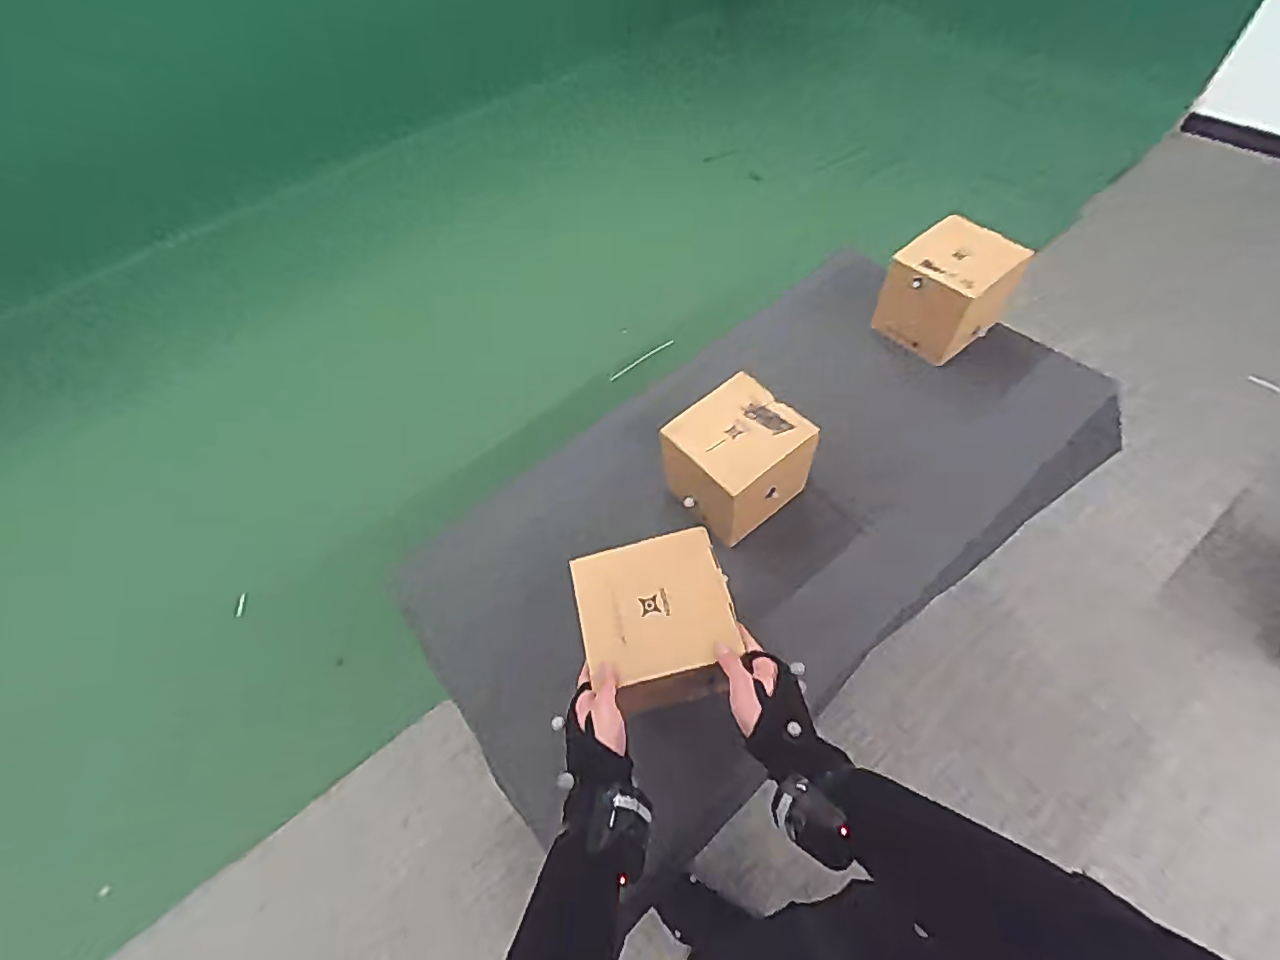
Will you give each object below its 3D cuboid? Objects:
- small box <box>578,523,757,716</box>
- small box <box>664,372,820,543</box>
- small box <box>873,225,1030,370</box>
[{"bbox_3d":[0.032,0.180,0.680,0.179,0.176,0.168,-14,55,-1],"label":"small box"},{"bbox_3d":[0.155,-0.033,0.870,0.179,0.176,0.168,-35,60,-16],"label":"small box"},{"bbox_3d":[0.584,-0.348,1.040,0.179,0.176,0.168,-34,60,-17],"label":"small box"}]
